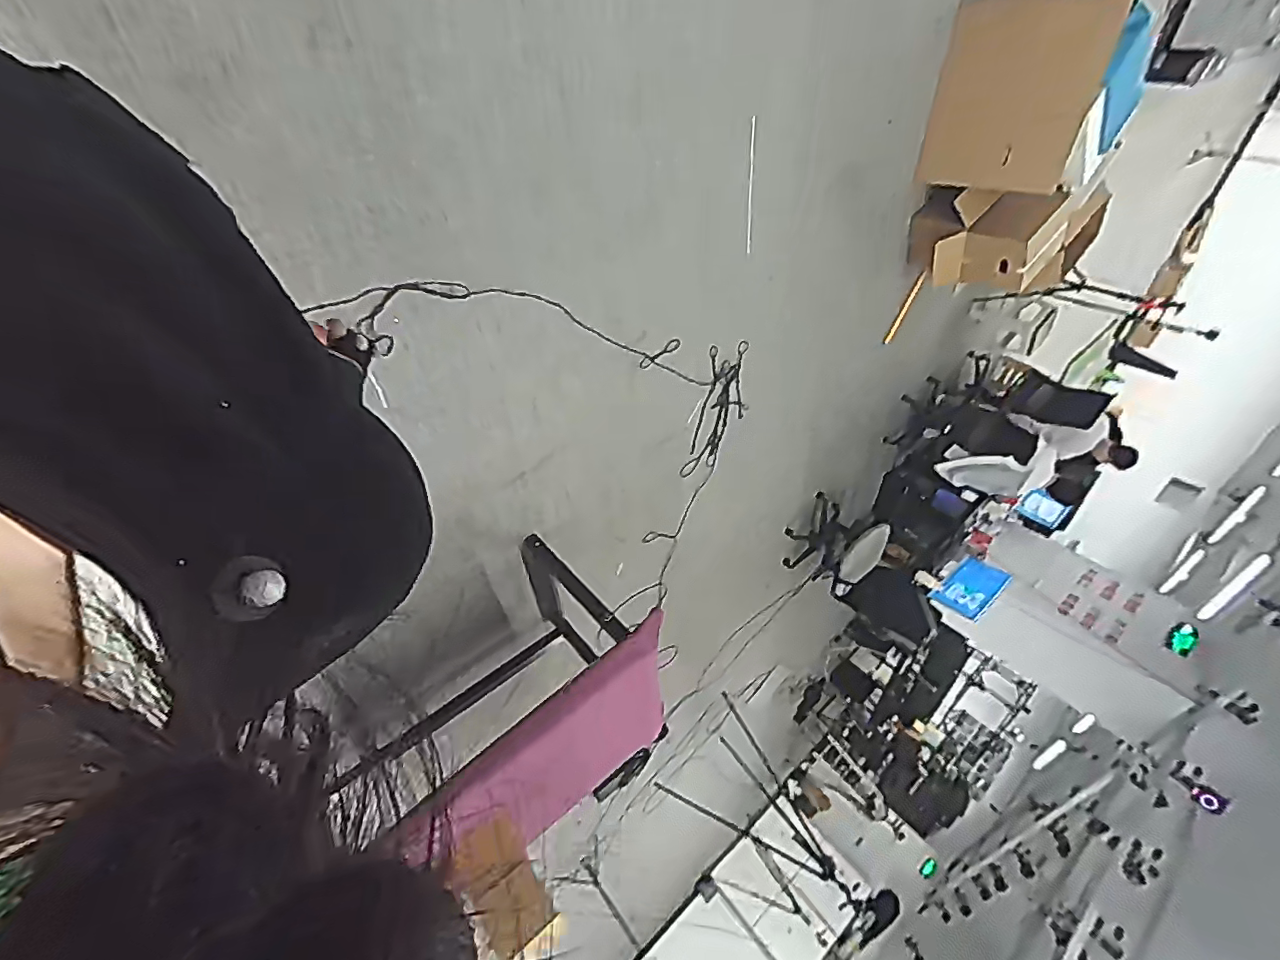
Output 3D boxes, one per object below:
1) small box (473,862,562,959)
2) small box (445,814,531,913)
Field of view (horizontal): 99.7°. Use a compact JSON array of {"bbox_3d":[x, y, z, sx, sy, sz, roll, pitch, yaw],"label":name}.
[{"bbox_3d":[-0.336,1.198,1.469,0.179,0.176,0.168,-28,137,-31],"label":"small box"},{"bbox_3d":[-0.438,1.124,1.574,0.179,0.176,0.168,-28,136,-30],"label":"small box"}]
